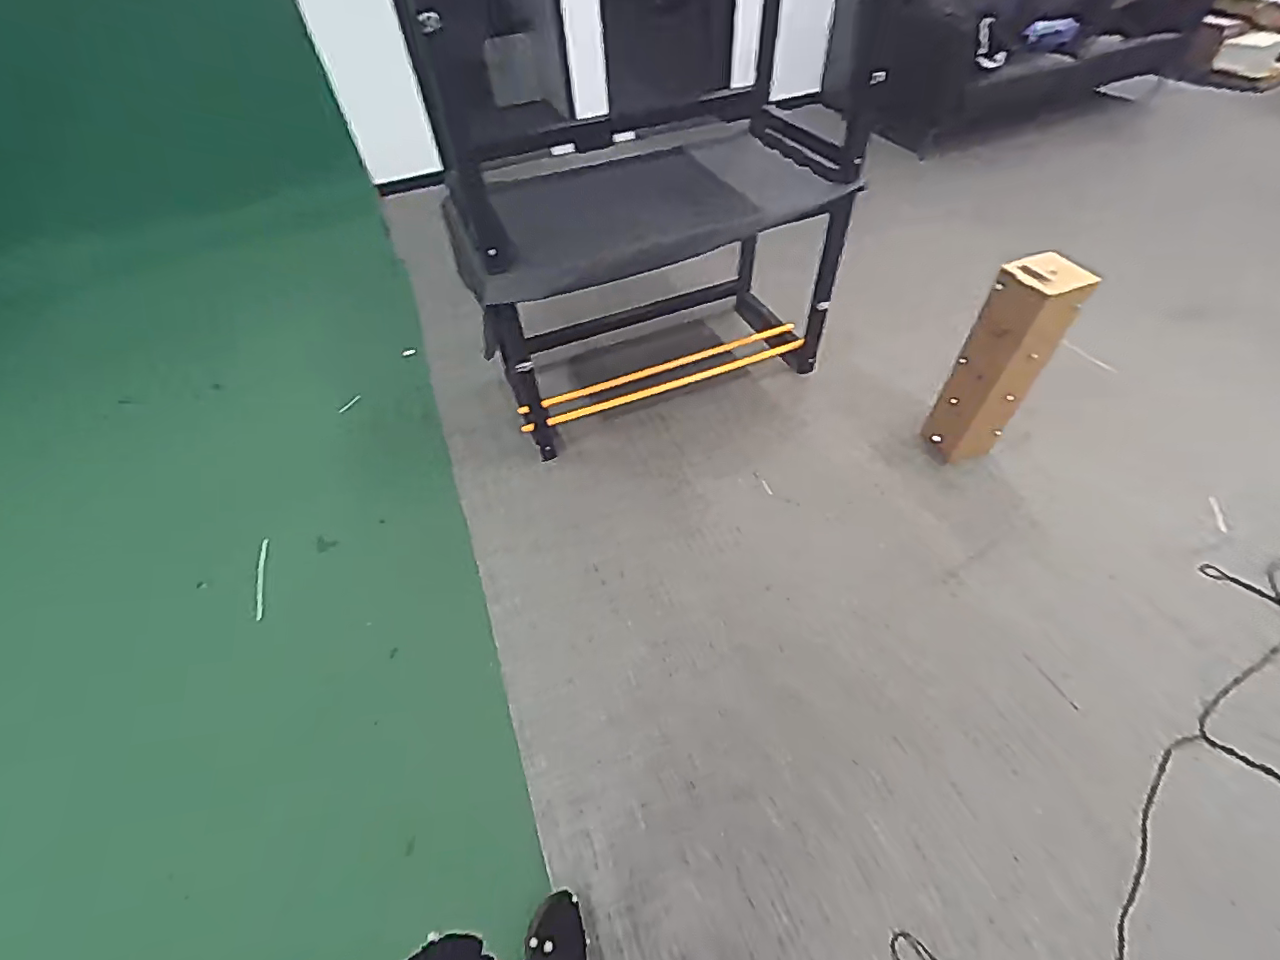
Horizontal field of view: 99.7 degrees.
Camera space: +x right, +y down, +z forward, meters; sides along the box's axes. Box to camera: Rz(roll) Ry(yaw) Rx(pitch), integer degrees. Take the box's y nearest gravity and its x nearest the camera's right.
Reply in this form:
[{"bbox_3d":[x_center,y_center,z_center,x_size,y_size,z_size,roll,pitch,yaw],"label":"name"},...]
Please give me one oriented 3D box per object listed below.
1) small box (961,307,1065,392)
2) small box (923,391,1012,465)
[{"bbox_3d":[1.110,-0.390,1.634,0.179,0.176,0.168,-17,52,-10],"label":"small box"},{"bbox_3d":[1.130,-0.180,1.883,0.179,0.176,0.168,-15,50,-8],"label":"small box"}]
